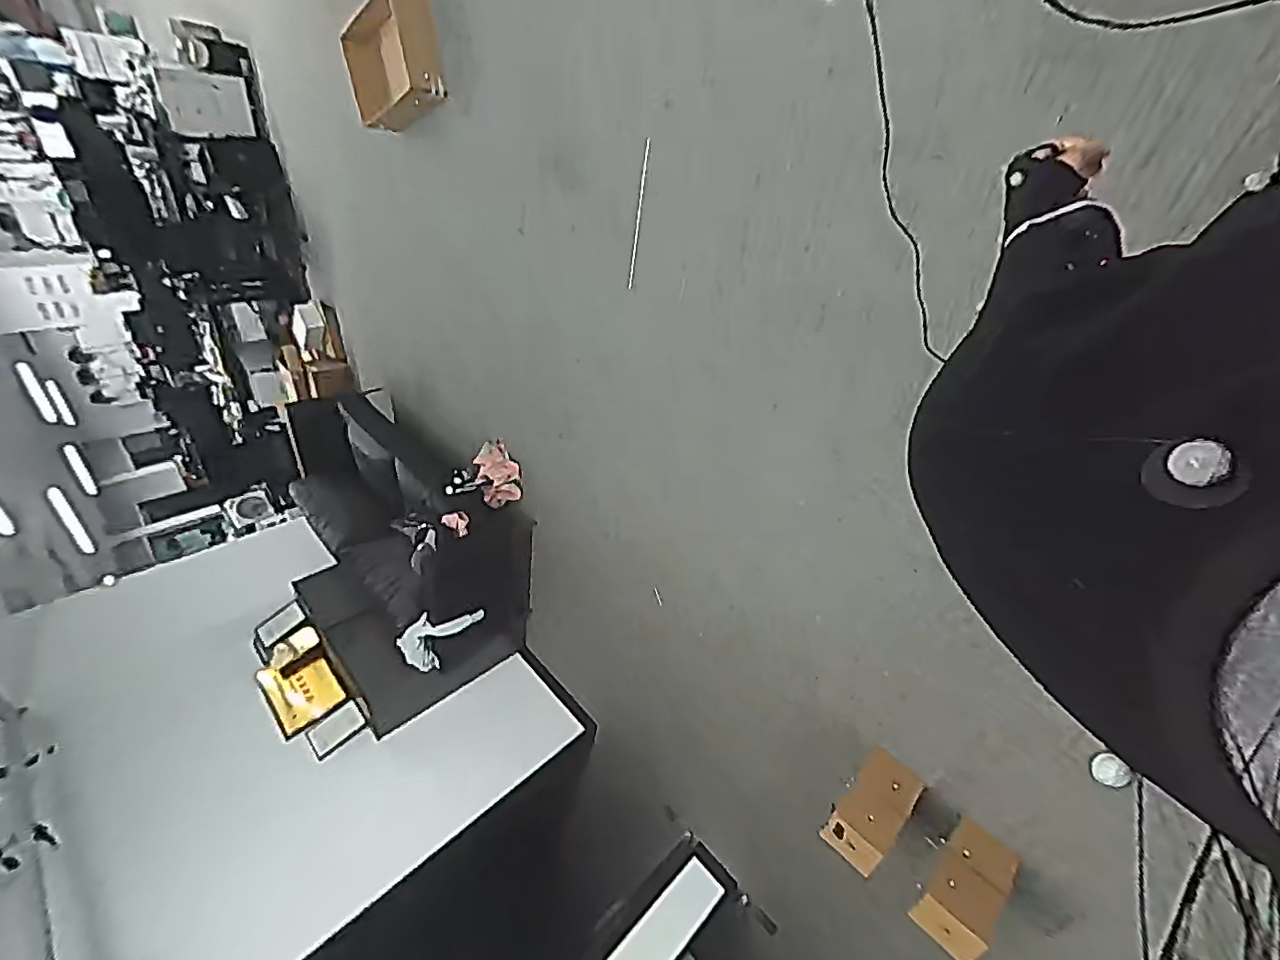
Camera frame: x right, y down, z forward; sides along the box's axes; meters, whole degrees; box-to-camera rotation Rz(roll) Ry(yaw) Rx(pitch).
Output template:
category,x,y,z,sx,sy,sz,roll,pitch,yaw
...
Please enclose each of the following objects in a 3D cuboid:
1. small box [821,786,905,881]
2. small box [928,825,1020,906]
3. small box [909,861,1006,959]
category,x,y,z,sx,sy,sz,roll,pitch,yaw
small box,0.733,1.150,1.779,0.179,0.176,0.168,33,131,32
small box,1.062,1.244,1.719,0.179,0.176,0.168,32,130,34
small box,0.946,1.285,1.611,0.179,0.176,0.168,32,130,33
